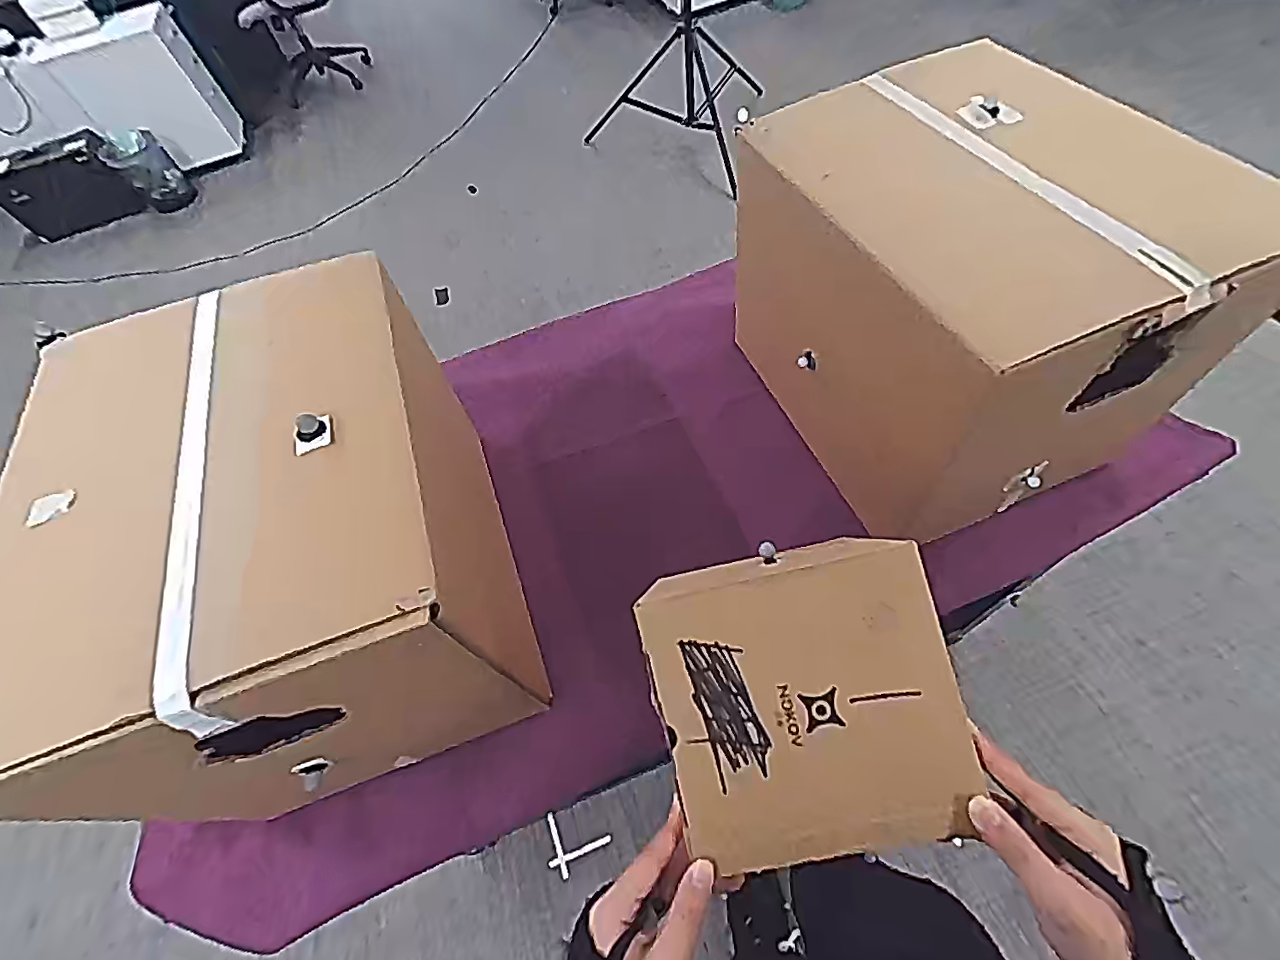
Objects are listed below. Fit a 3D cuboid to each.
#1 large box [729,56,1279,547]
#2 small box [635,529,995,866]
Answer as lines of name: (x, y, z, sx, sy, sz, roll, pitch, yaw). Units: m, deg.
large box: (0.330, -0.194, 0.613, 0.320, 0.320, 0.408, -22, 56, -6)
small box: (0.106, 0.136, 0.396, 0.179, 0.176, 0.168, -14, 83, 4)
